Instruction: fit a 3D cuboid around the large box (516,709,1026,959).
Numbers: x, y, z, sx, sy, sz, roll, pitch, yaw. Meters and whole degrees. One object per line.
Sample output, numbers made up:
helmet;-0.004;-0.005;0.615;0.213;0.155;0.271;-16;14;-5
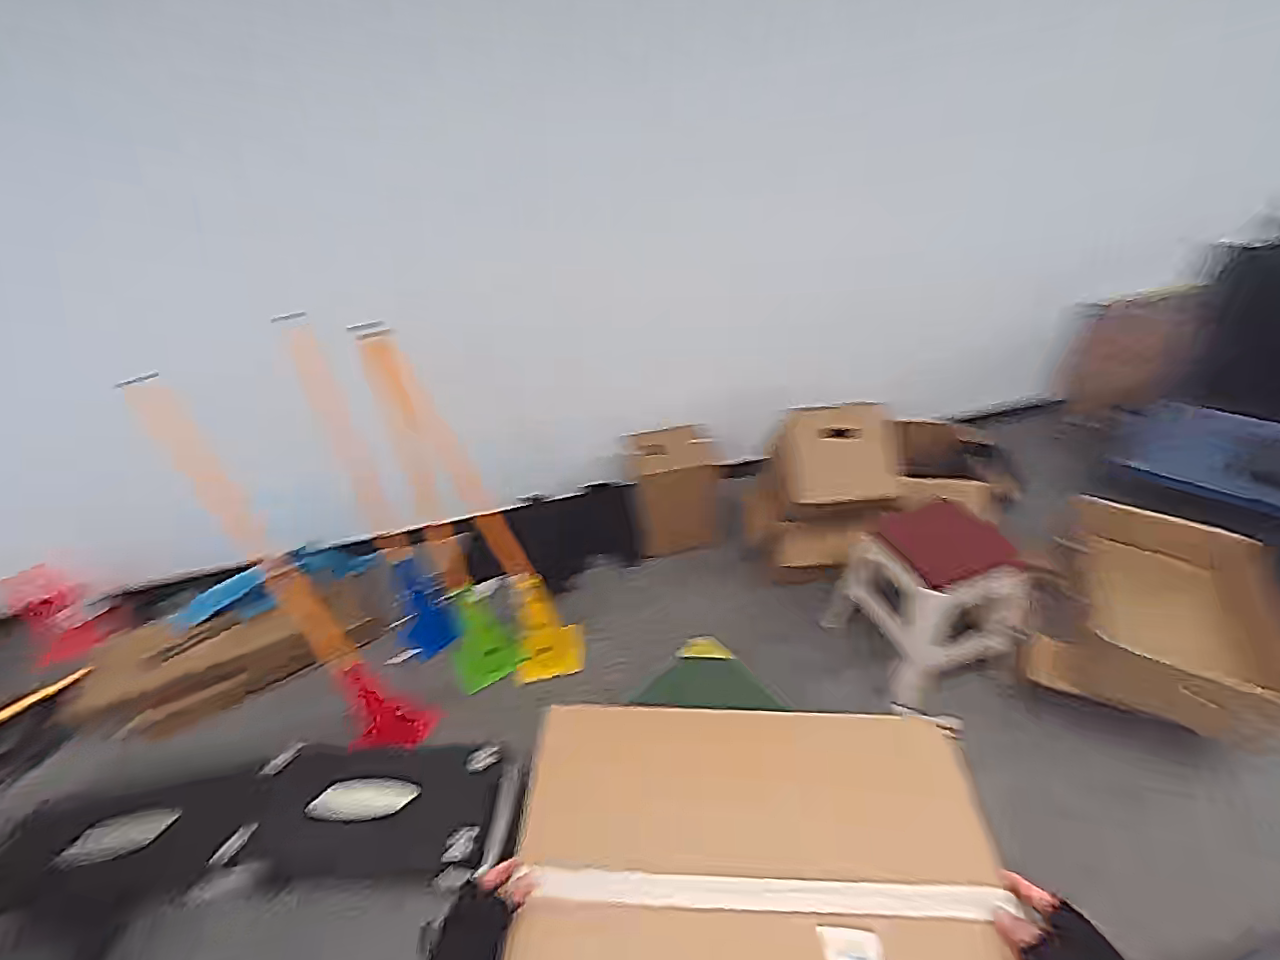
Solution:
large box;0.103;0.461;0.547;0.408;0.320;0.320;2;40;3
